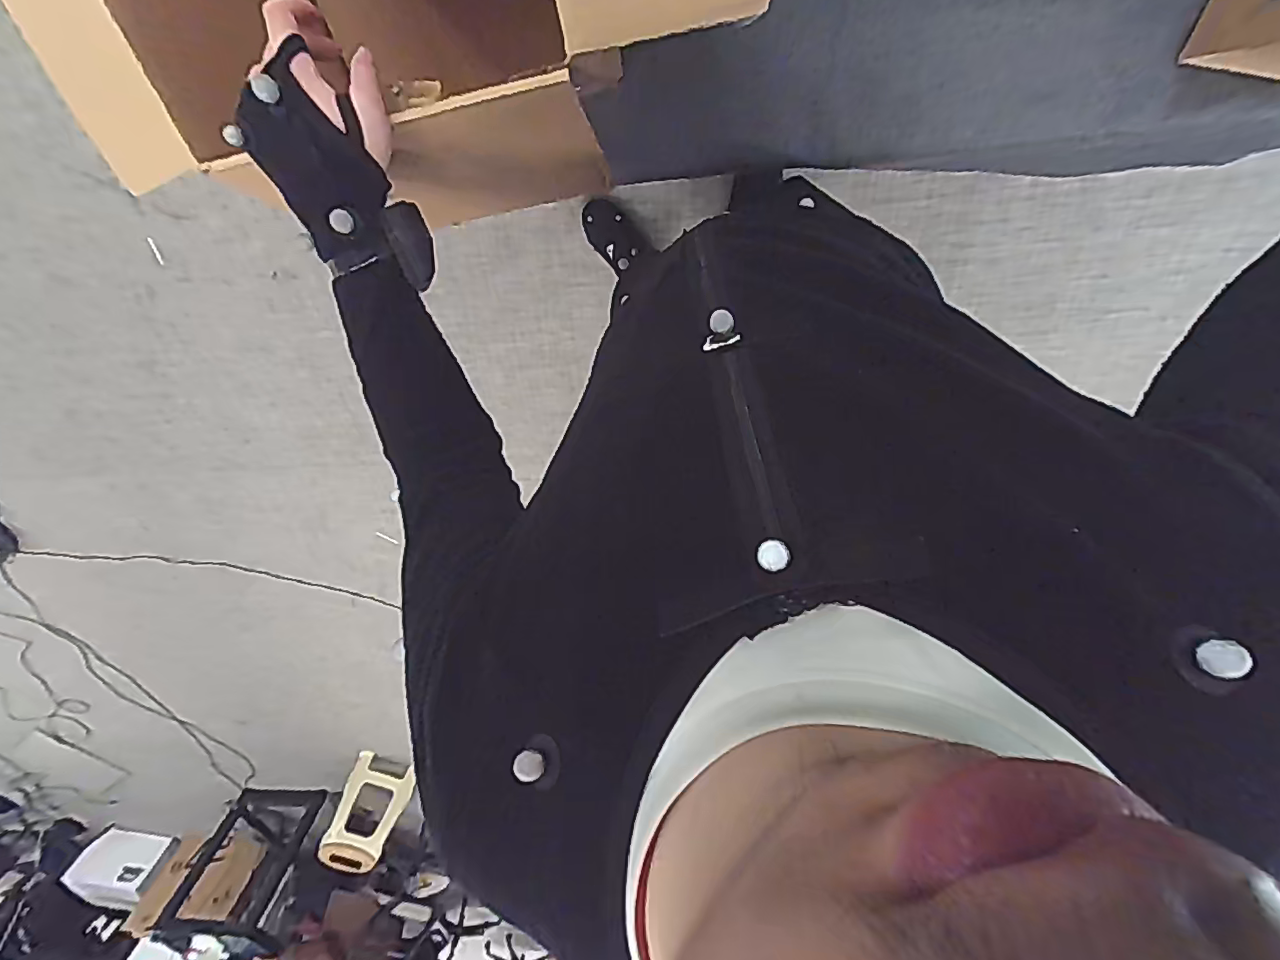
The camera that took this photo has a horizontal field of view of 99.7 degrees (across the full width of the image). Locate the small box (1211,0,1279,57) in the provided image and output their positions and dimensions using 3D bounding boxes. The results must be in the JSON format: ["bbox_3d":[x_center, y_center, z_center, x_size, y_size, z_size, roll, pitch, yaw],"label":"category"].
[{"bbox_3d":[0.636,-0.449,0.429,0.168,0.176,0.179,8,122,-3],"label":"small box"}]
